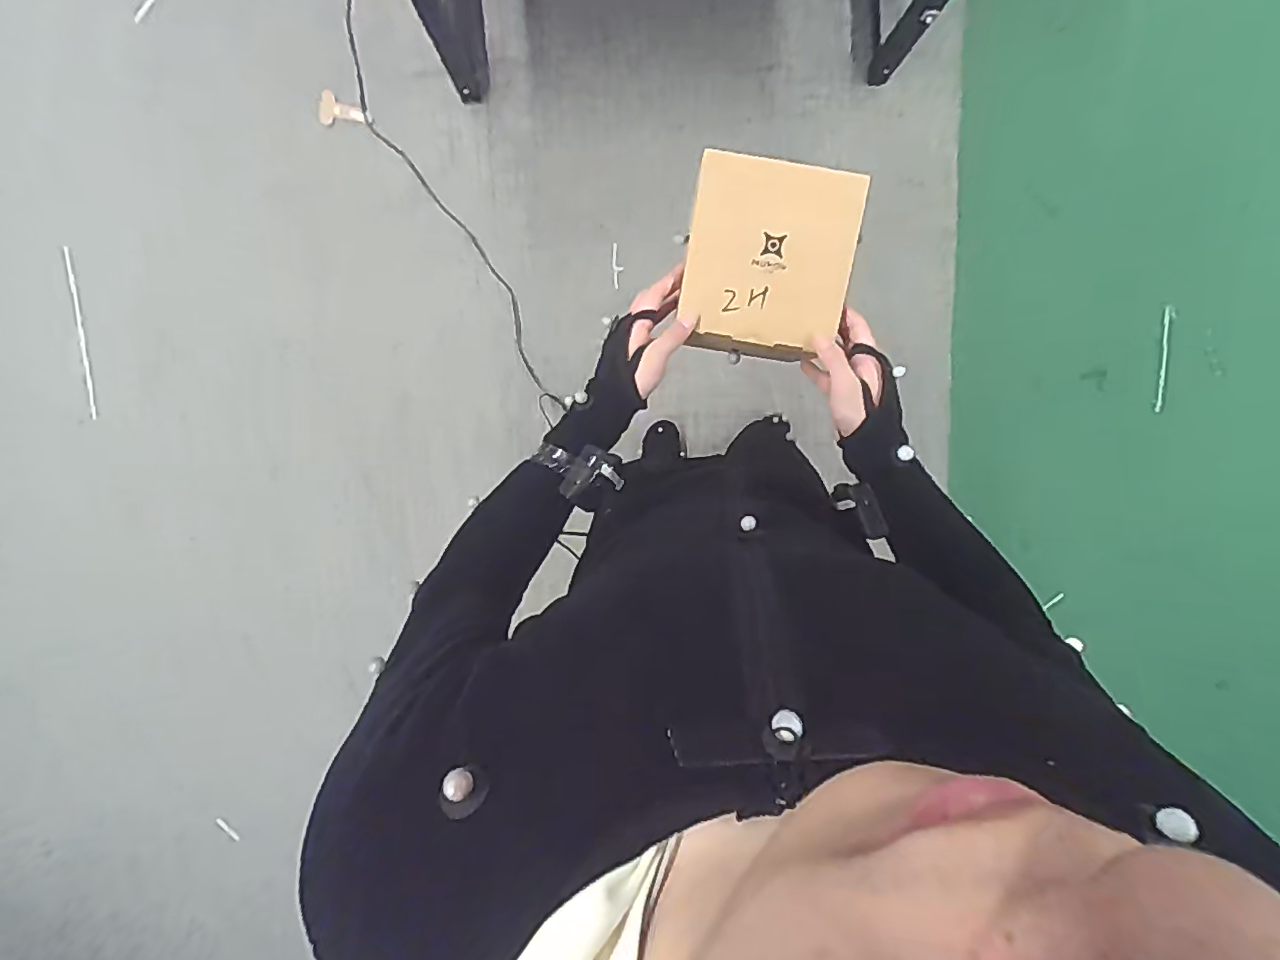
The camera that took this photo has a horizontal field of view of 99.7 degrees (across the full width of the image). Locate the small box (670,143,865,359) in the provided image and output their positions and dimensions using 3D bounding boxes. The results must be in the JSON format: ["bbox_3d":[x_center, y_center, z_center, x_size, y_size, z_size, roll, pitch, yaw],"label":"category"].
[{"bbox_3d":[0.128,-0.243,0.616,0.168,0.176,0.179,9,100,0],"label":"small box"}]
